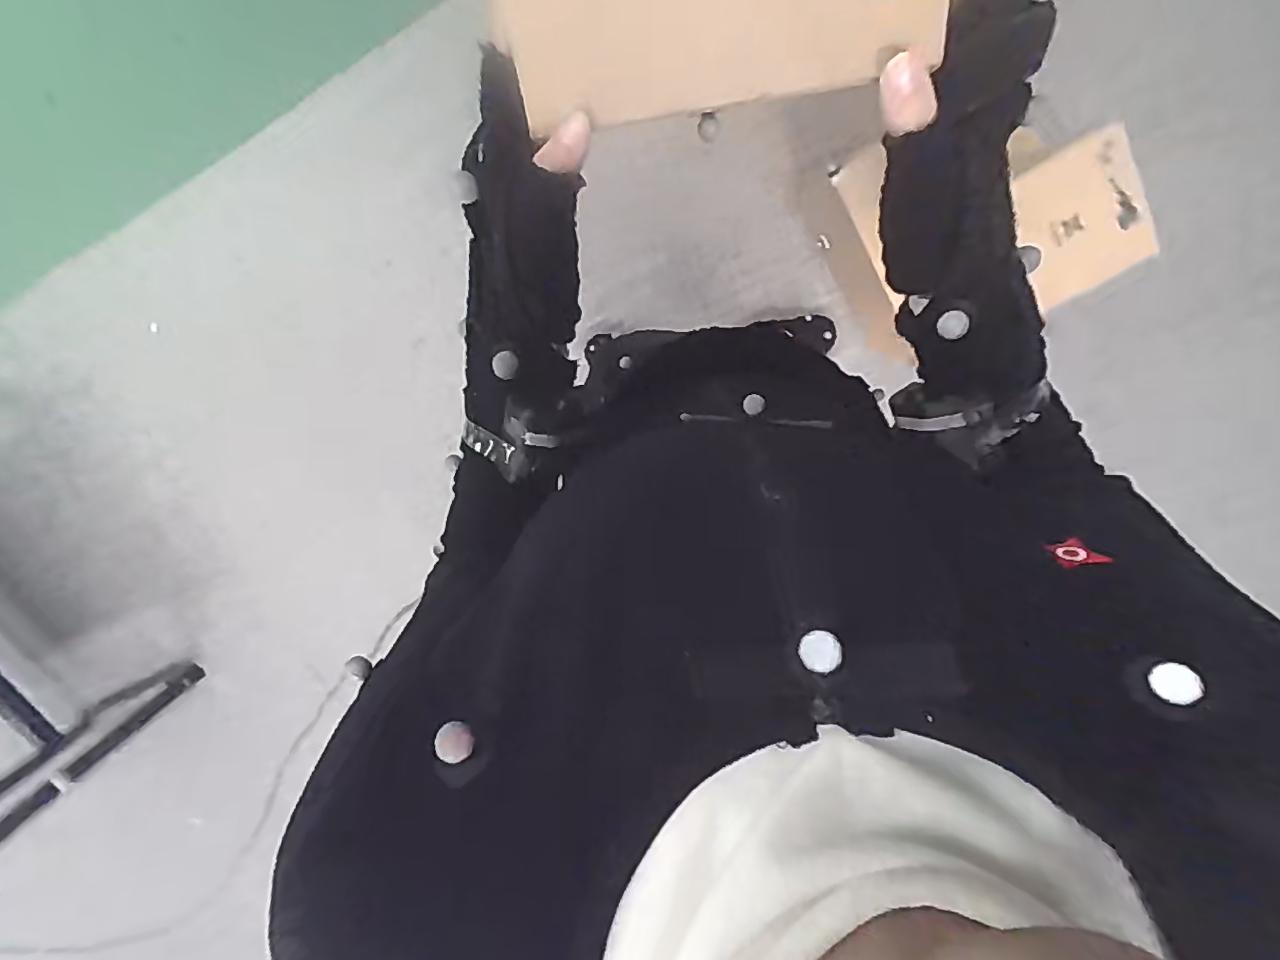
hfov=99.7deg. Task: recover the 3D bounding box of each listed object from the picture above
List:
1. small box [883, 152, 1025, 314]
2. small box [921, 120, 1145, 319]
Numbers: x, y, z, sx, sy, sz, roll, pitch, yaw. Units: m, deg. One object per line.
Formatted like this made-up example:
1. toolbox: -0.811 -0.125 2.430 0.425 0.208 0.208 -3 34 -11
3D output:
1. small box: 0.529 -0.394 0.890 0.168 0.176 0.179 -27 107 14
2. small box: 0.513 -0.338 0.737 0.179 0.176 0.168 -27 105 15
